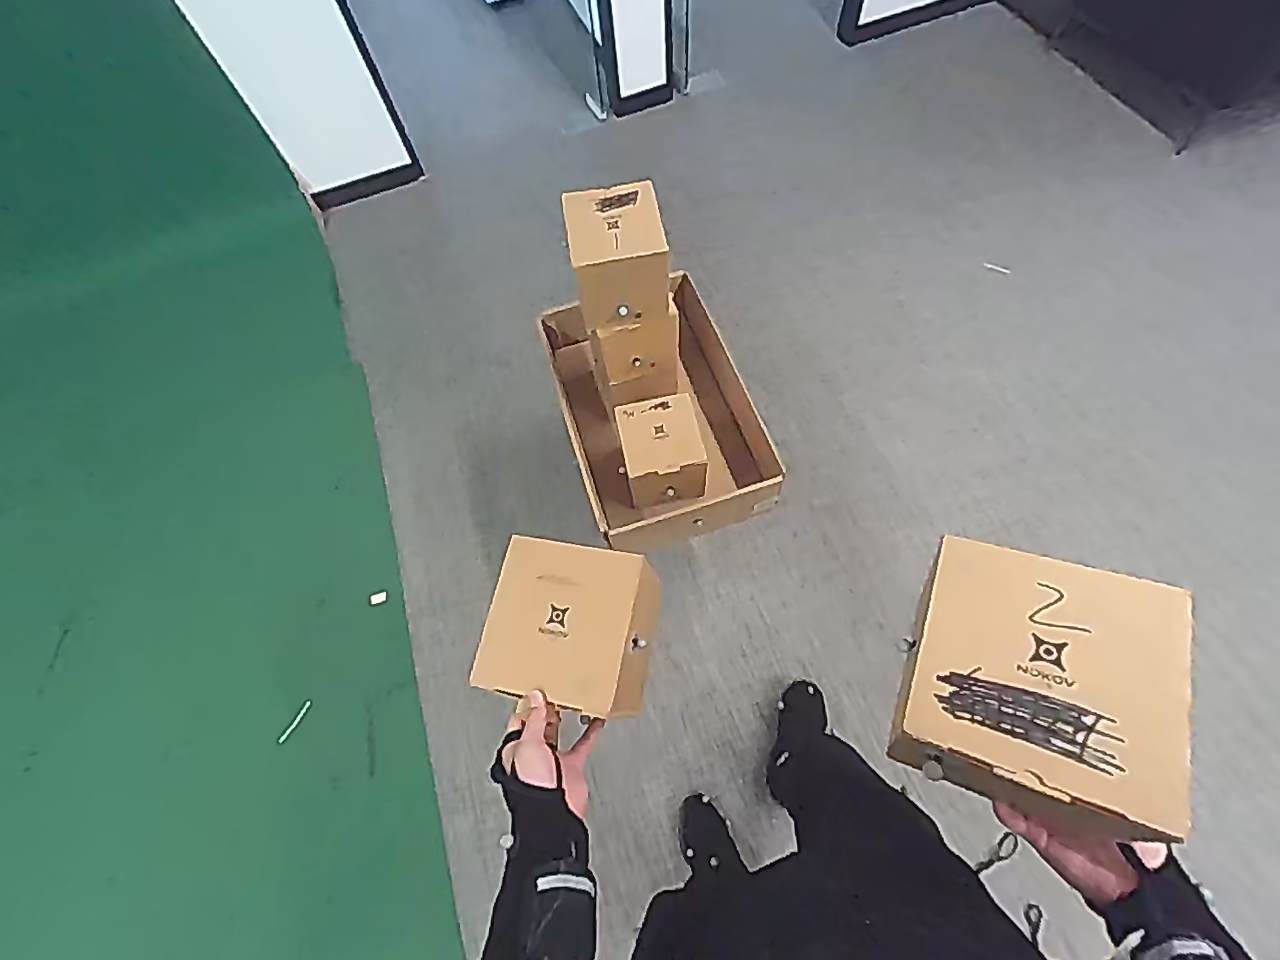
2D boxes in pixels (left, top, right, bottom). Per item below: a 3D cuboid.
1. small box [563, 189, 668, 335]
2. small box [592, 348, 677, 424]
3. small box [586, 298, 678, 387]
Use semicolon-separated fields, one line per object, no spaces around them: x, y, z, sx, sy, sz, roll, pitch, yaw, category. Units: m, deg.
-0.042;-0.401;1.009;0.168;0.176;0.179;-10;66;0;small box
-0.014;-0.264;1.304;0.168;0.176;0.179;-18;65;-4;small box
-0.025;-0.330;1.156;0.168;0.176;0.179;-19;66;-5;small box
